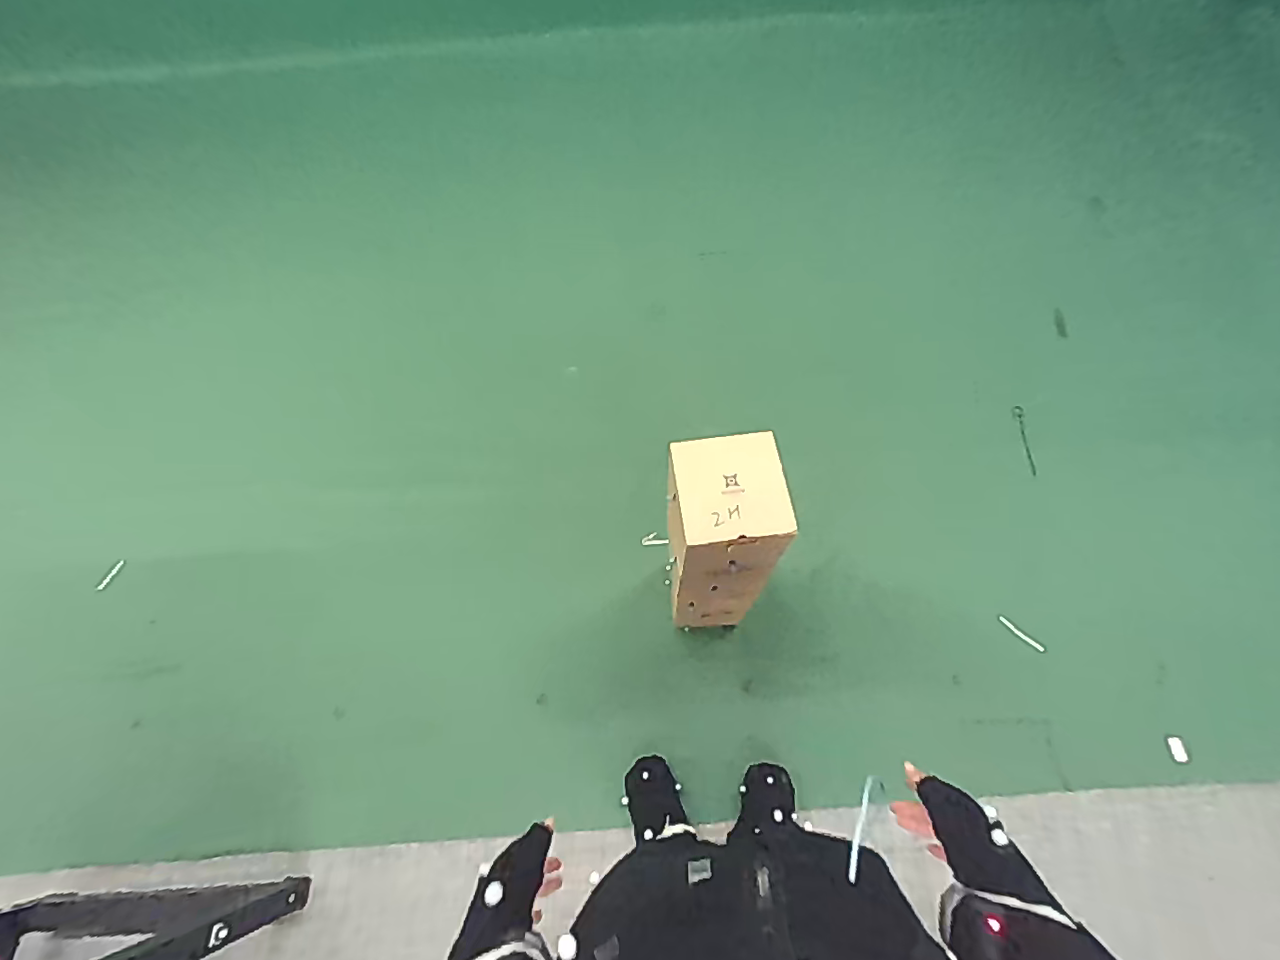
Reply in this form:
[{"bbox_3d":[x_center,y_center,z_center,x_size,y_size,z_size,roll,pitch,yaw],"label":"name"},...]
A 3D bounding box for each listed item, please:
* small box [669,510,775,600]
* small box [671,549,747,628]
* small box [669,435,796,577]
[{"bbox_3d":[0.147,0.120,1.044,0.168,0.176,0.179,-6,65,-1],"label":"small box"},{"bbox_3d":[0.165,0.266,1.337,0.168,0.176,0.179,-3,64,1],"label":"small box"},{"bbox_3d":[0.141,0.048,0.897,0.168,0.176,0.179,-7,65,-1],"label":"small box"}]
